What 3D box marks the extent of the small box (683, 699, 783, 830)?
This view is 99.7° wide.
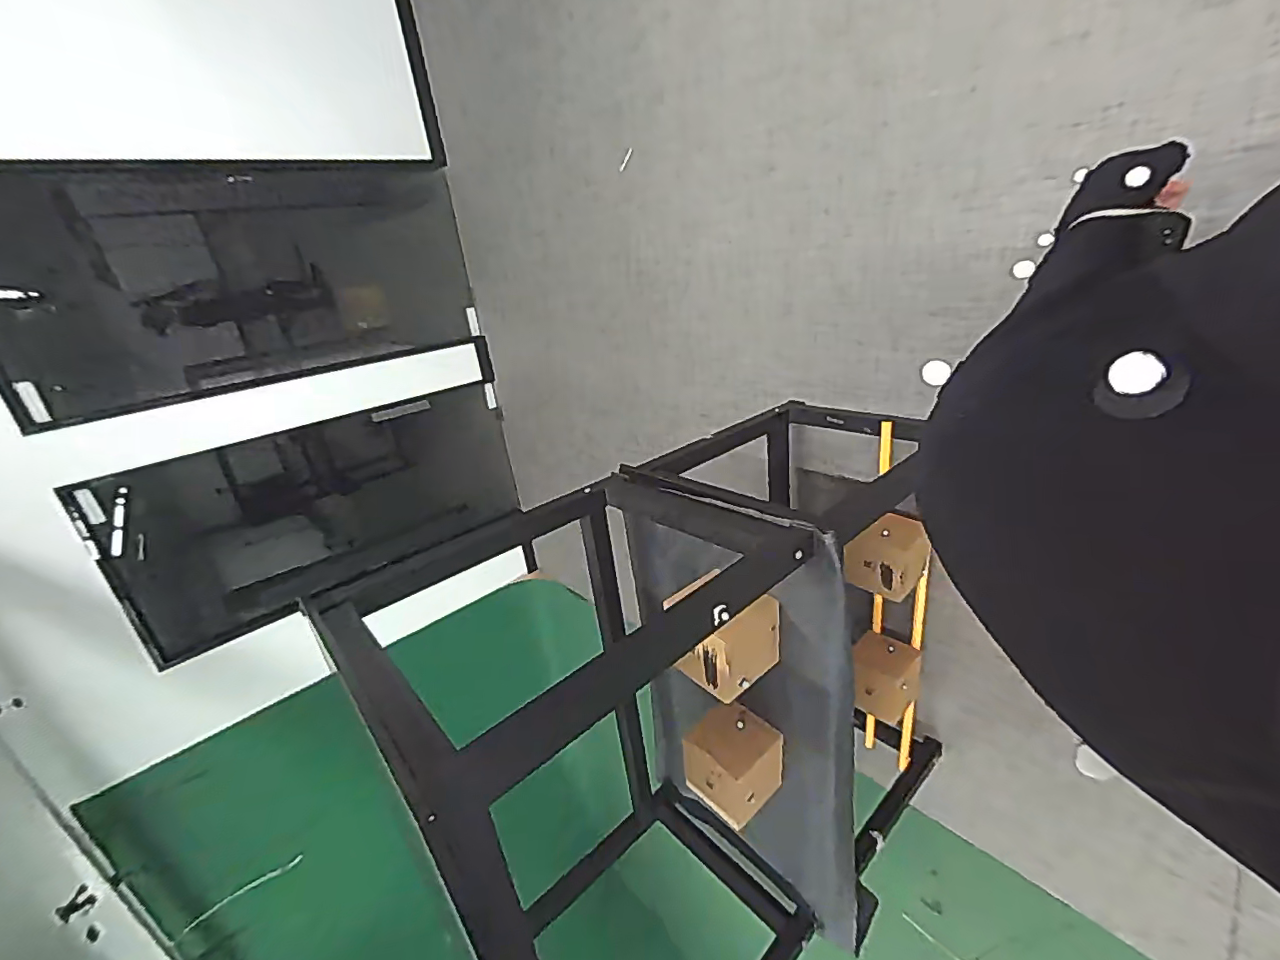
[{"bbox_3d":[0.223,0.664,1.279,0.168,0.176,0.179,21,126,44],"label":"small box"}]

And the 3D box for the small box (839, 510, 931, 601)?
[{"bbox_3d":[0.680,0.200,1.499,0.179,0.176,0.168,21,125,44],"label":"small box"}]
